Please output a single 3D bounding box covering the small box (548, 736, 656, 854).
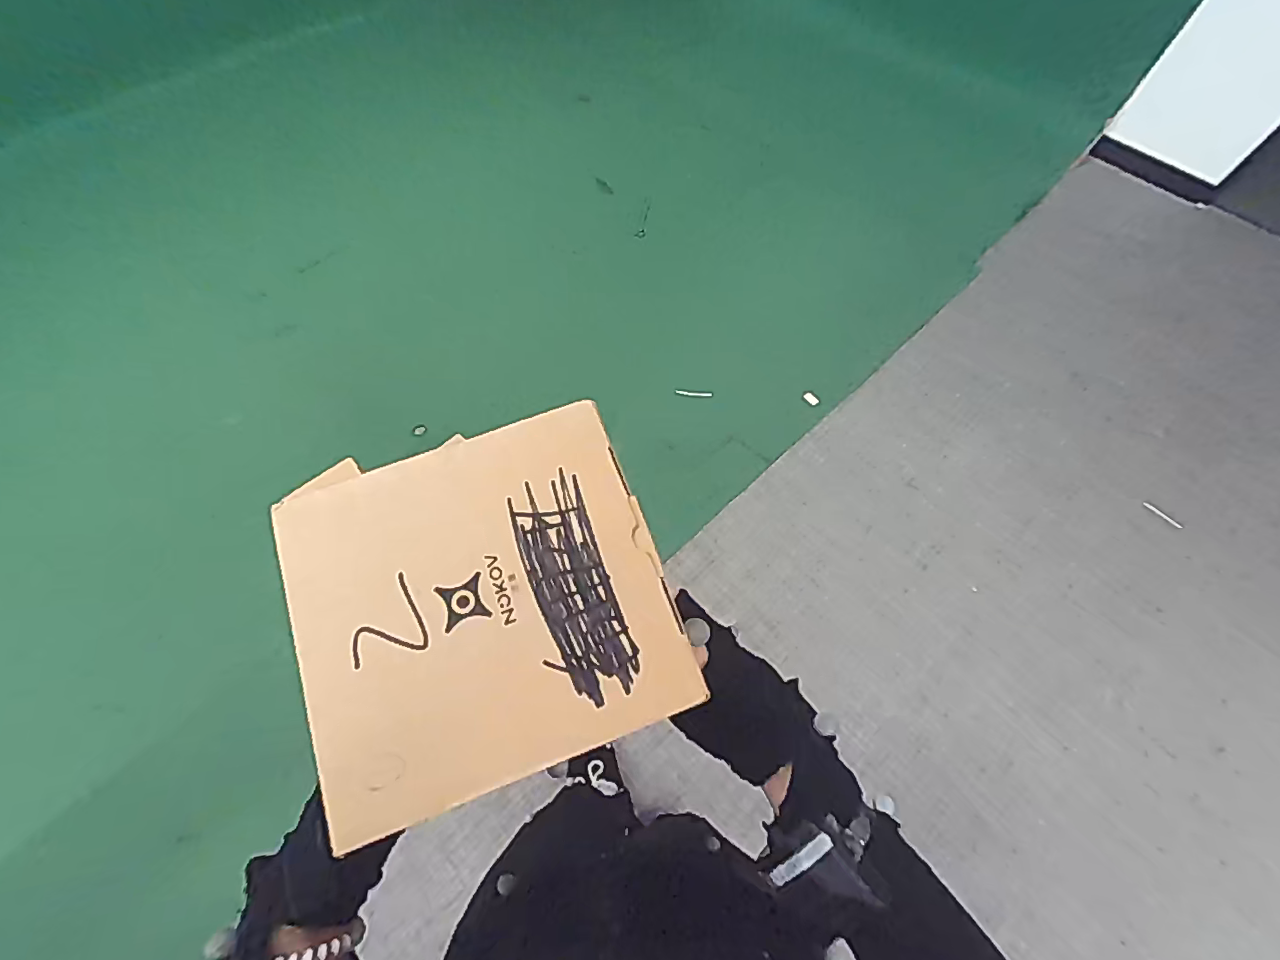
[{"bbox_3d":[-0.085,0.685,1.194,0.179,0.176,0.168,10,75,23],"label":"small box"}]
